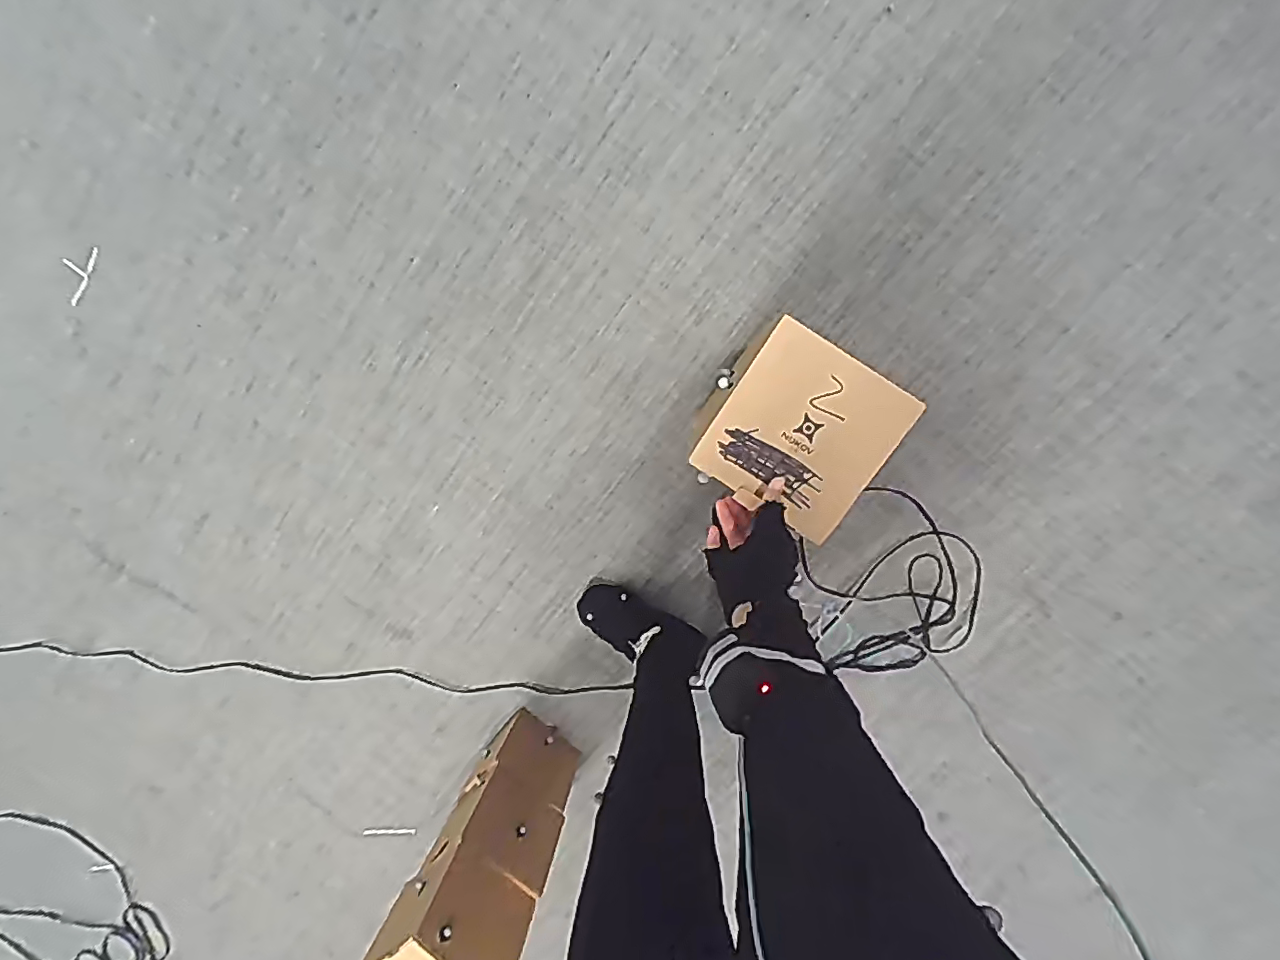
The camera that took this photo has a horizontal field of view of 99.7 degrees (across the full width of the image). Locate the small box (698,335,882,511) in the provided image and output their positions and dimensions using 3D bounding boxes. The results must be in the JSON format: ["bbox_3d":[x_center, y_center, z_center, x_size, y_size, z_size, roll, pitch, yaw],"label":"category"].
[{"bbox_3d":[0.199,-0.085,0.773,0.179,0.176,0.168,36,104,-2],"label":"small box"}]

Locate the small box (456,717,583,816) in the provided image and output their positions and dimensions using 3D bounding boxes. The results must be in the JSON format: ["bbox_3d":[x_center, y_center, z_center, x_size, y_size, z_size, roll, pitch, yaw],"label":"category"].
[{"bbox_3d":[-0.250,0.646,1.161,0.179,0.176,0.168,37,107,-1],"label":"small box"}]

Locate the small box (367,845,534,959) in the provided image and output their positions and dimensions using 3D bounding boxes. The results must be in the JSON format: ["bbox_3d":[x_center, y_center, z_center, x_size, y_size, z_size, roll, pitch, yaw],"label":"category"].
[{"bbox_3d":[-0.295,0.730,0.846,0.179,0.176,0.168,45,104,-4],"label":"small box"}]

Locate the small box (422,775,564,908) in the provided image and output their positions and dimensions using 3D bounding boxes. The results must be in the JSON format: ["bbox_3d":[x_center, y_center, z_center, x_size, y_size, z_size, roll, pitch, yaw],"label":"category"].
[{"bbox_3d":[-0.269,0.689,1.001,0.179,0.176,0.168,40,104,-4],"label":"small box"}]
